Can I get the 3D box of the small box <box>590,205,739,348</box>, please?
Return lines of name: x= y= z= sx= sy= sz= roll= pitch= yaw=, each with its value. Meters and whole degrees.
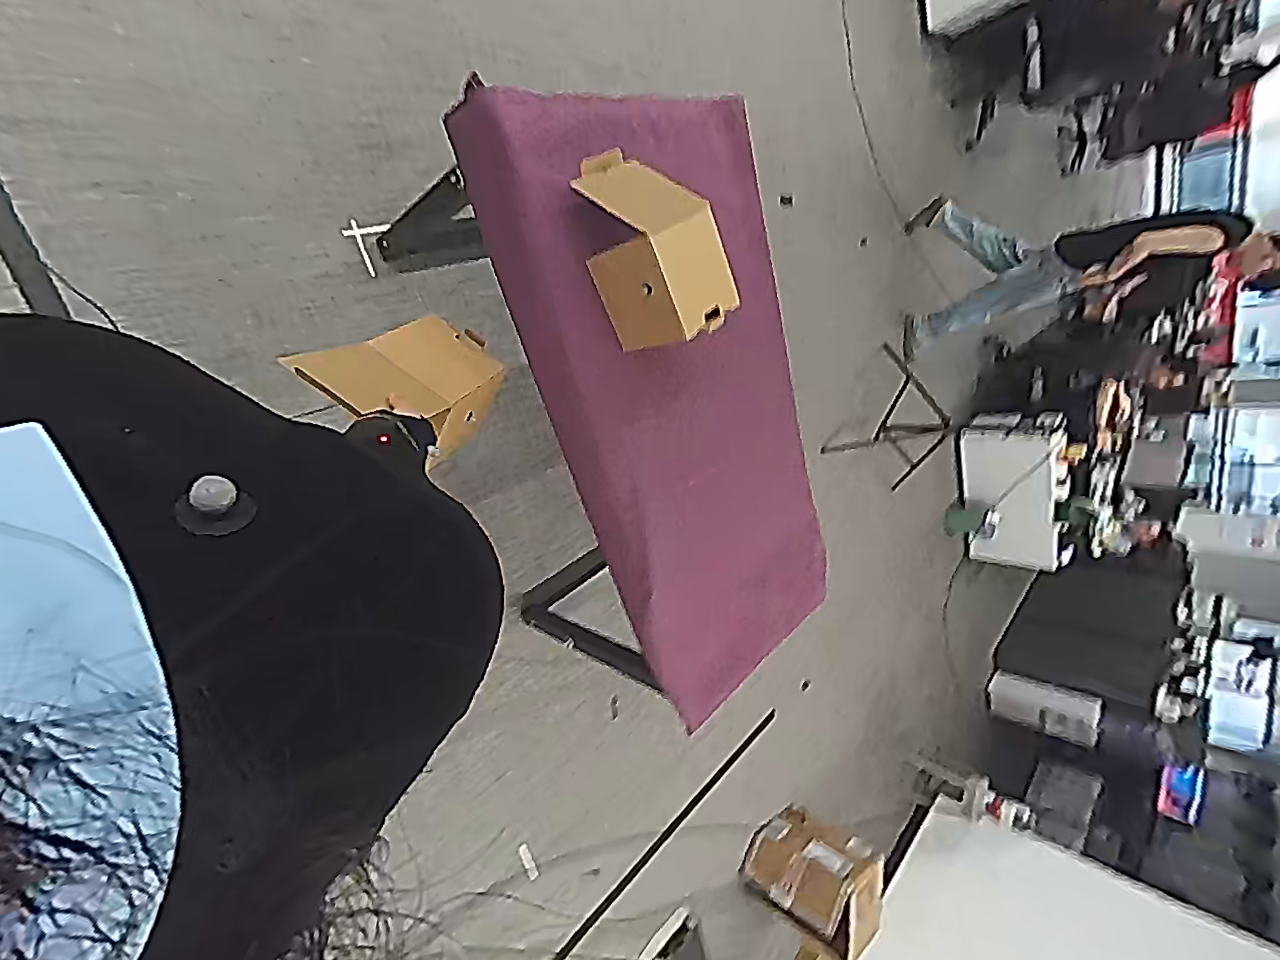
small box: x=0.041 y=-0.351 z=0.953 sx=0.168 sy=0.176 sz=0.179 roll=-40 pitch=119 yaw=-31
